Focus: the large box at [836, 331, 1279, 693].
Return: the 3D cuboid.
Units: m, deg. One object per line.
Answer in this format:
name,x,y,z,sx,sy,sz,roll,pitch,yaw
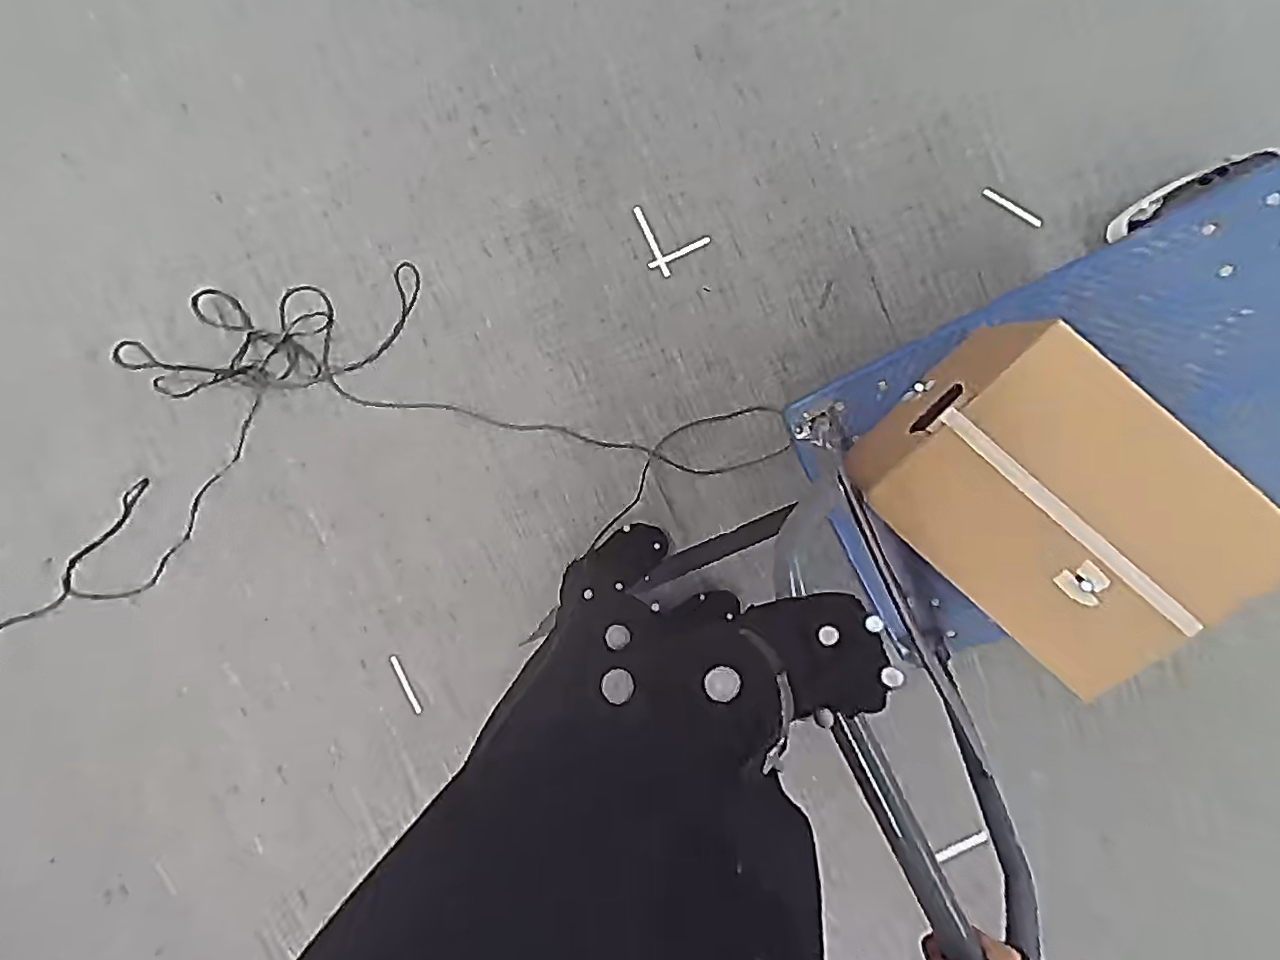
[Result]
large box,0.576,0.021,0.833,0.408,0.320,0.320,42,109,2
